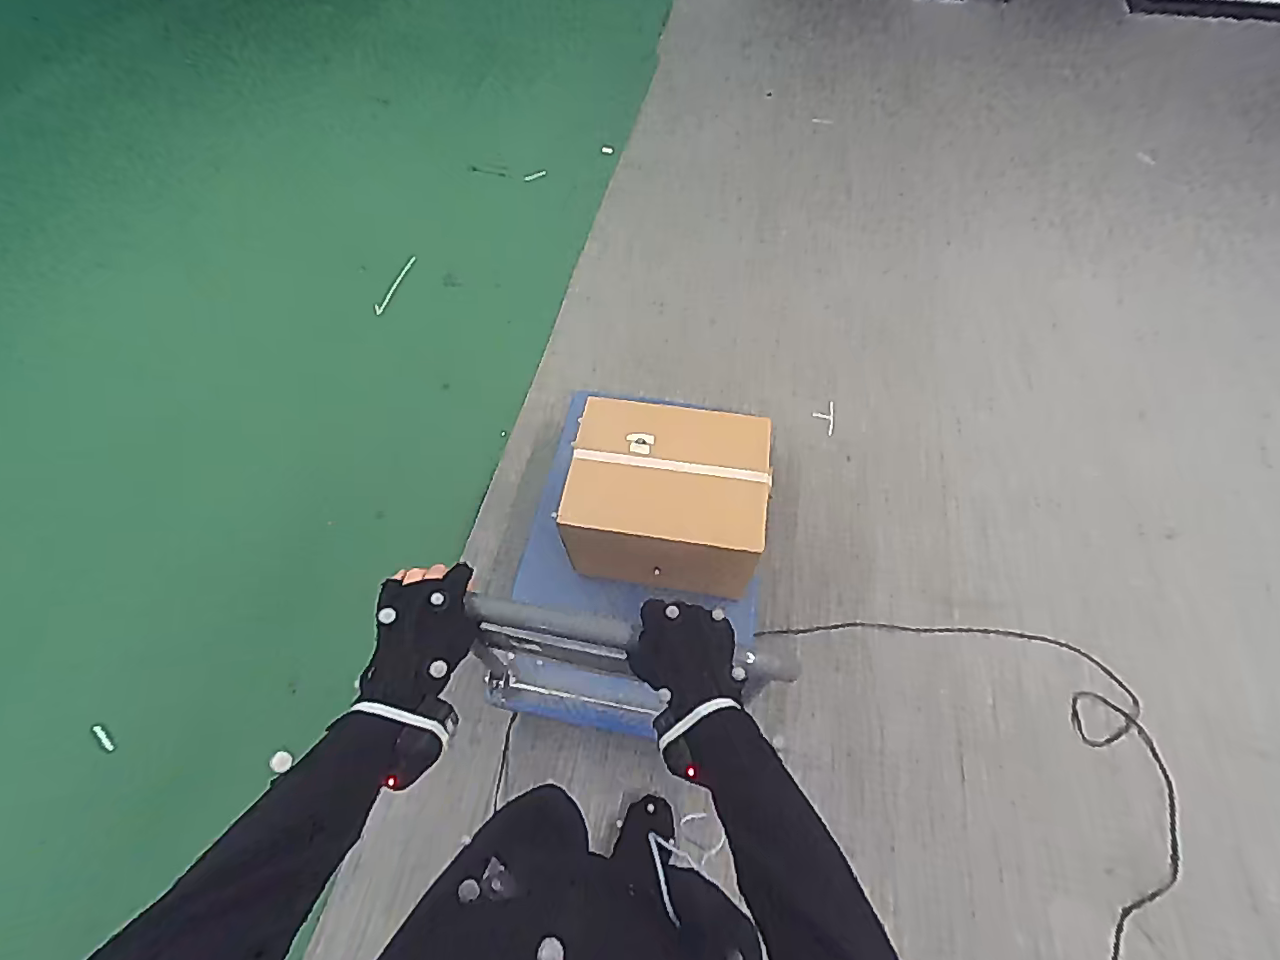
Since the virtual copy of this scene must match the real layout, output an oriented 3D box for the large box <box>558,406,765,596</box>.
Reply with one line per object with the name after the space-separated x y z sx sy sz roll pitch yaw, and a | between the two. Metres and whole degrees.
0.063 0.058 1.247 0.408 0.320 0.320 7 61 7 | large box
